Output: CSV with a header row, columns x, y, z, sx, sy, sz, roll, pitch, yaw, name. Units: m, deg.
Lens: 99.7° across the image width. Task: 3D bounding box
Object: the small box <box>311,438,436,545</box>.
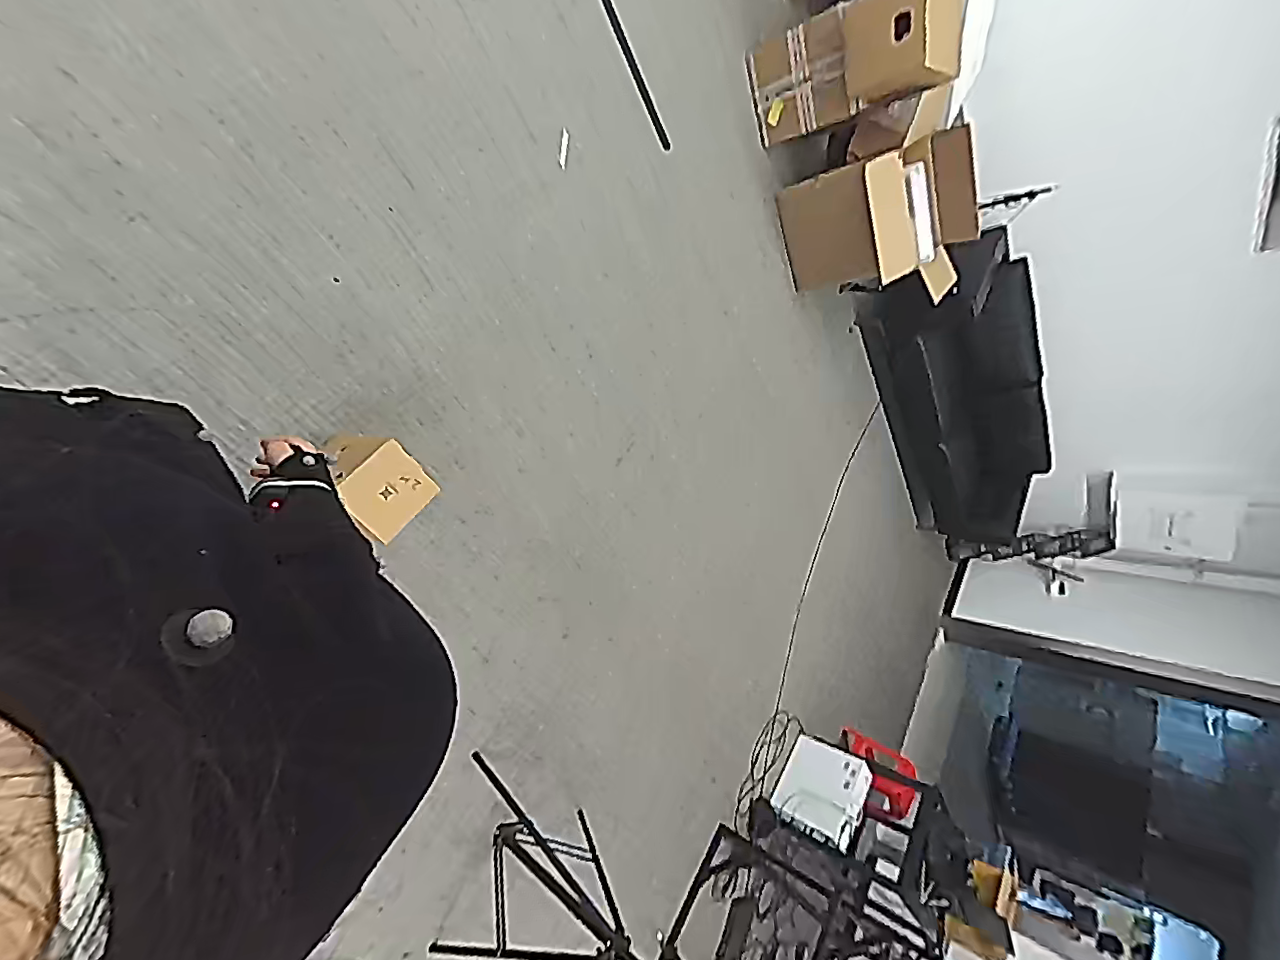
x,y,z,sx,sy,sz,roll,pitch,yaw,name
-0.610,0.020,1.228,0.179,0.176,0.168,-53,129,-29,small box
